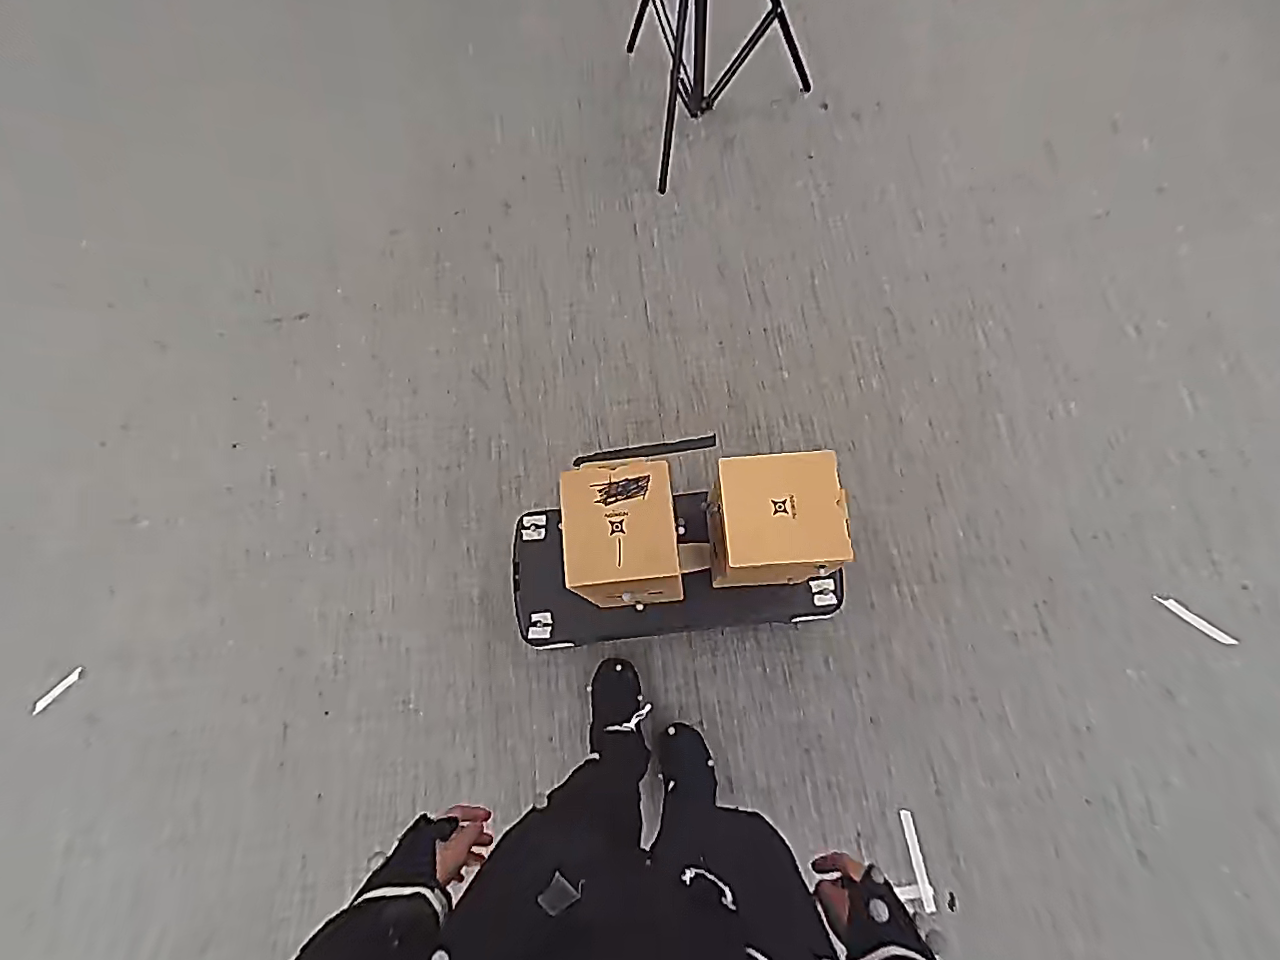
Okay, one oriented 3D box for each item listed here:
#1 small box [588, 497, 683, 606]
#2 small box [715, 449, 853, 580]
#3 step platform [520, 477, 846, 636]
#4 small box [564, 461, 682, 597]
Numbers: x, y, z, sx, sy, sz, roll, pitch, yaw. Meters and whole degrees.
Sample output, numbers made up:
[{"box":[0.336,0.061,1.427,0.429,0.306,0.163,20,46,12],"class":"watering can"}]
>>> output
[{"box":[-0.008,0.137,1.019,0.168,0.176,0.179,-6,72,3],"class":"small box"},{"box":[0.213,0.063,0.853,0.179,0.176,0.168,-5,72,3],"class":"small box"},{"box":[0.085,0.162,1.186,0.684,0.204,0.286,-8,72,3],"class":"step platform"},{"box":[-0.024,0.084,0.864,0.168,0.176,0.179,-6,72,3],"class":"small box"}]
